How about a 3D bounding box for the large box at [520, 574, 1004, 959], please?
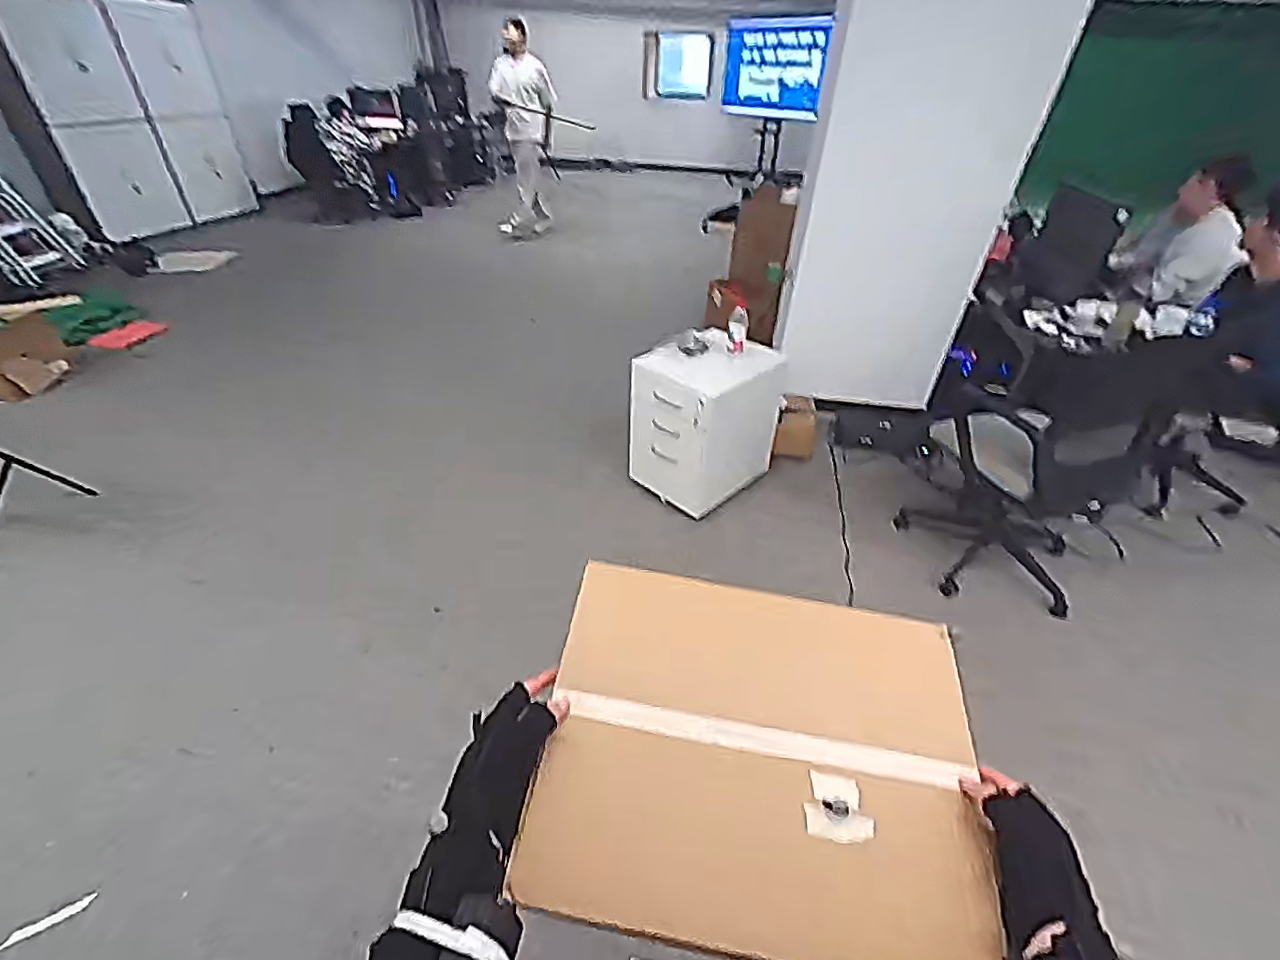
[{"bbox_3d":[0.106,0.348,0.639,0.408,0.320,0.320,10,51,3],"label":"large box"}]
